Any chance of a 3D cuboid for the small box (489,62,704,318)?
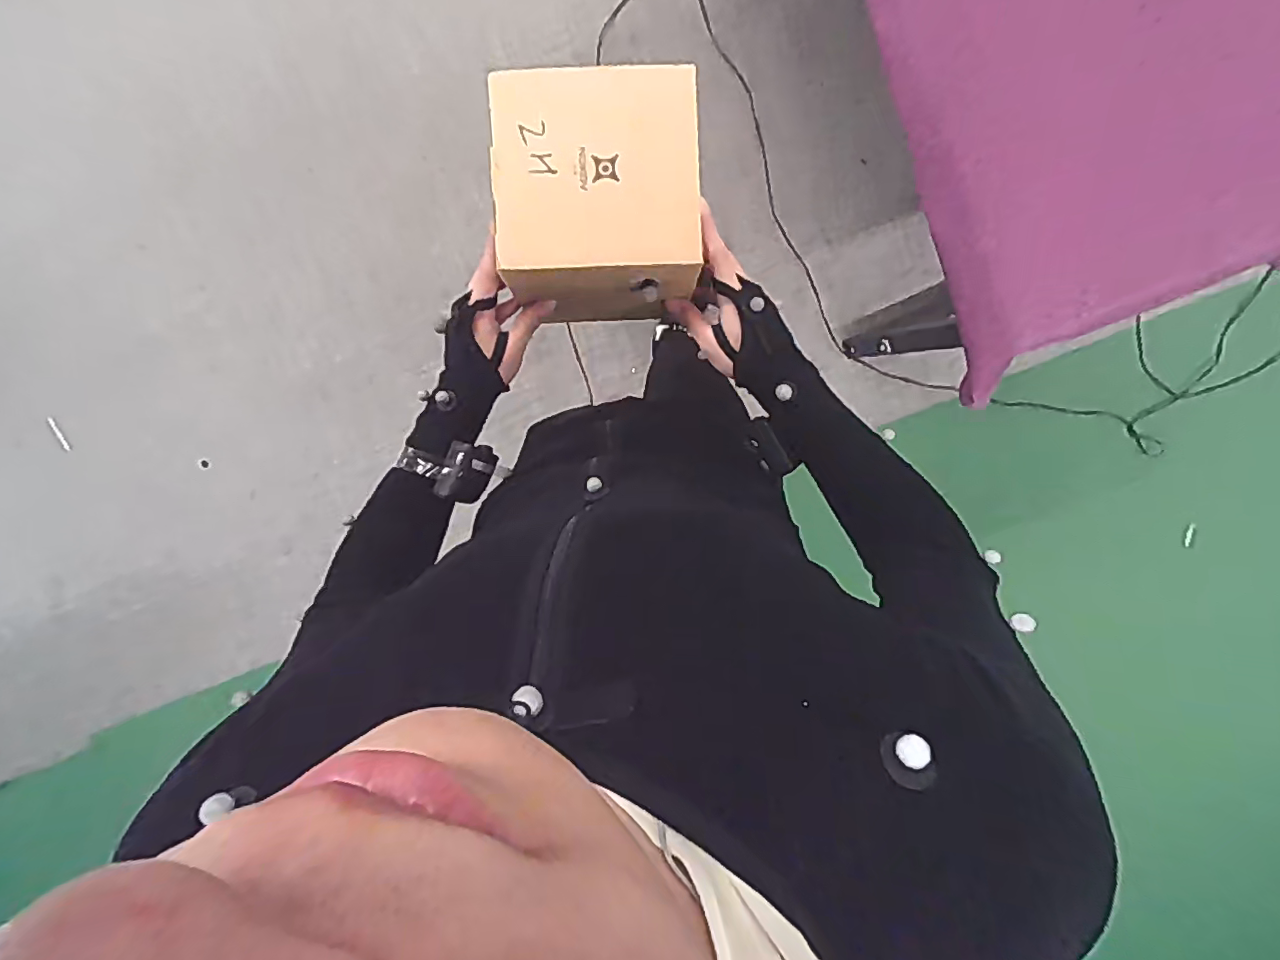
[{"bbox_3d":[-0.037,-0.263,0.528,0.179,0.176,0.168,-2,91,0],"label":"small box"}]
